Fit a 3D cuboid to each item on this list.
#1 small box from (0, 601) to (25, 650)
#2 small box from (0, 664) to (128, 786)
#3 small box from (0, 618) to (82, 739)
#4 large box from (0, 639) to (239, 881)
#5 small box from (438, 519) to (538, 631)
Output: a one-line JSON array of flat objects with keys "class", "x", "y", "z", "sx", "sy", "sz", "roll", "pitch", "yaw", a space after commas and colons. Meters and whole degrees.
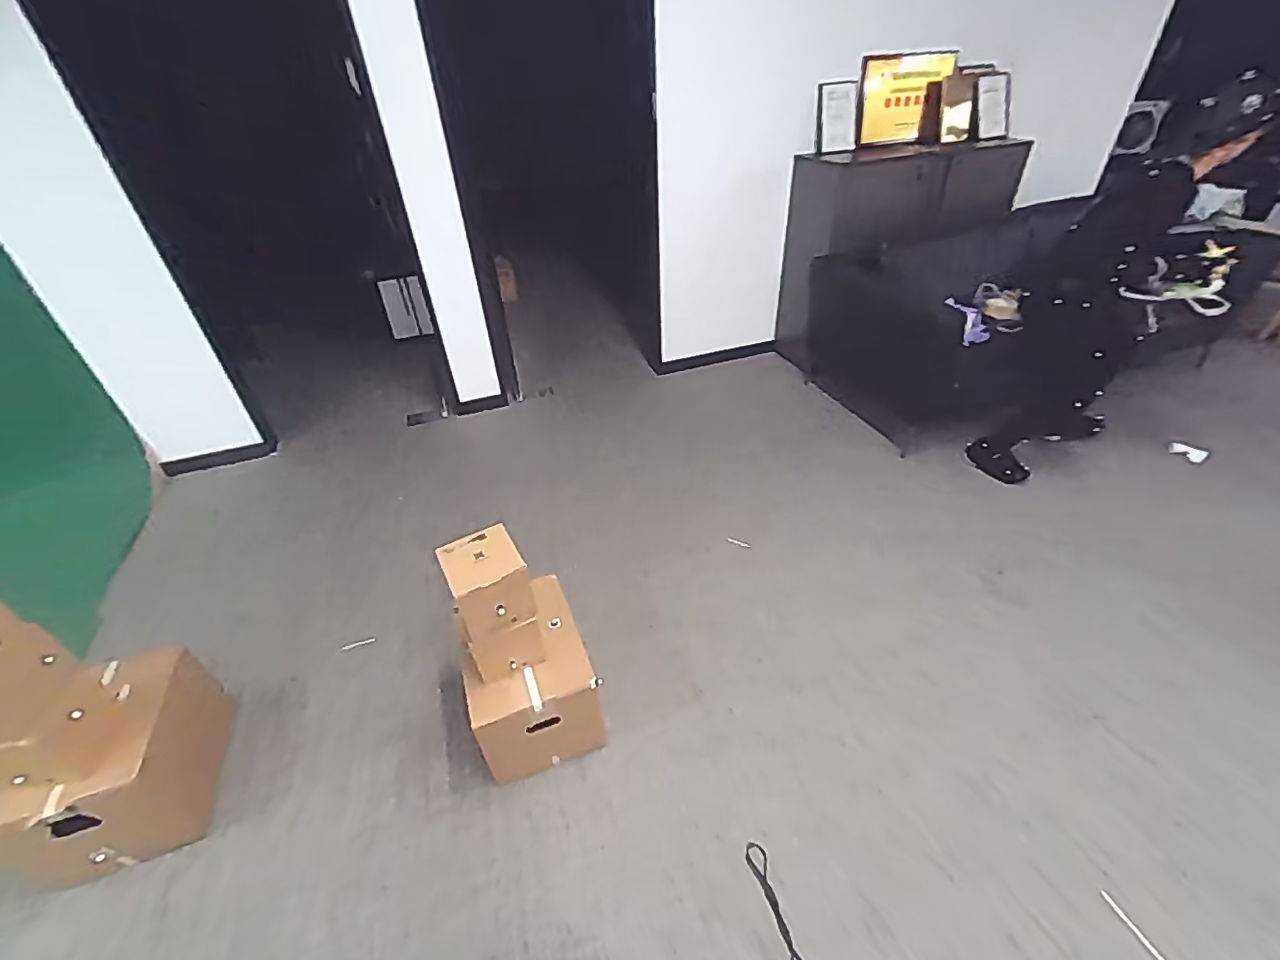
[{"class": "small box", "x": -1.344, "y": 0.289, "z": 1.006, "sx": 0.179, "sy": 0.176, "sz": 0.168, "roll": -7, "pitch": 38, "yaw": -3}, {"class": "small box", "x": -1.312, "y": 0.545, "z": 1.207, "sx": 0.168, "sy": 0.176, "sz": 0.179, "roll": -9, "pitch": 39, "yaw": -6}, {"class": "small box", "x": -1.328, "y": 0.413, "z": 1.113, "sx": 0.168, "sy": 0.176, "sz": 0.179, "roll": -7, "pitch": 39, "yaw": -3}, {"class": "large box", "x": -1.314, "y": 0.705, "z": 1.397, "sx": 0.320, "sy": 0.320, "sz": 0.408, "roll": -15, "pitch": 39, "yaw": -15}, {"class": "small box", "x": -0.354, "y": 0.230, "z": 1.276, "sx": 0.168, "sy": 0.176, "sz": 0.179, "roll": -22, "pitch": 43, "yaw": -21}]
